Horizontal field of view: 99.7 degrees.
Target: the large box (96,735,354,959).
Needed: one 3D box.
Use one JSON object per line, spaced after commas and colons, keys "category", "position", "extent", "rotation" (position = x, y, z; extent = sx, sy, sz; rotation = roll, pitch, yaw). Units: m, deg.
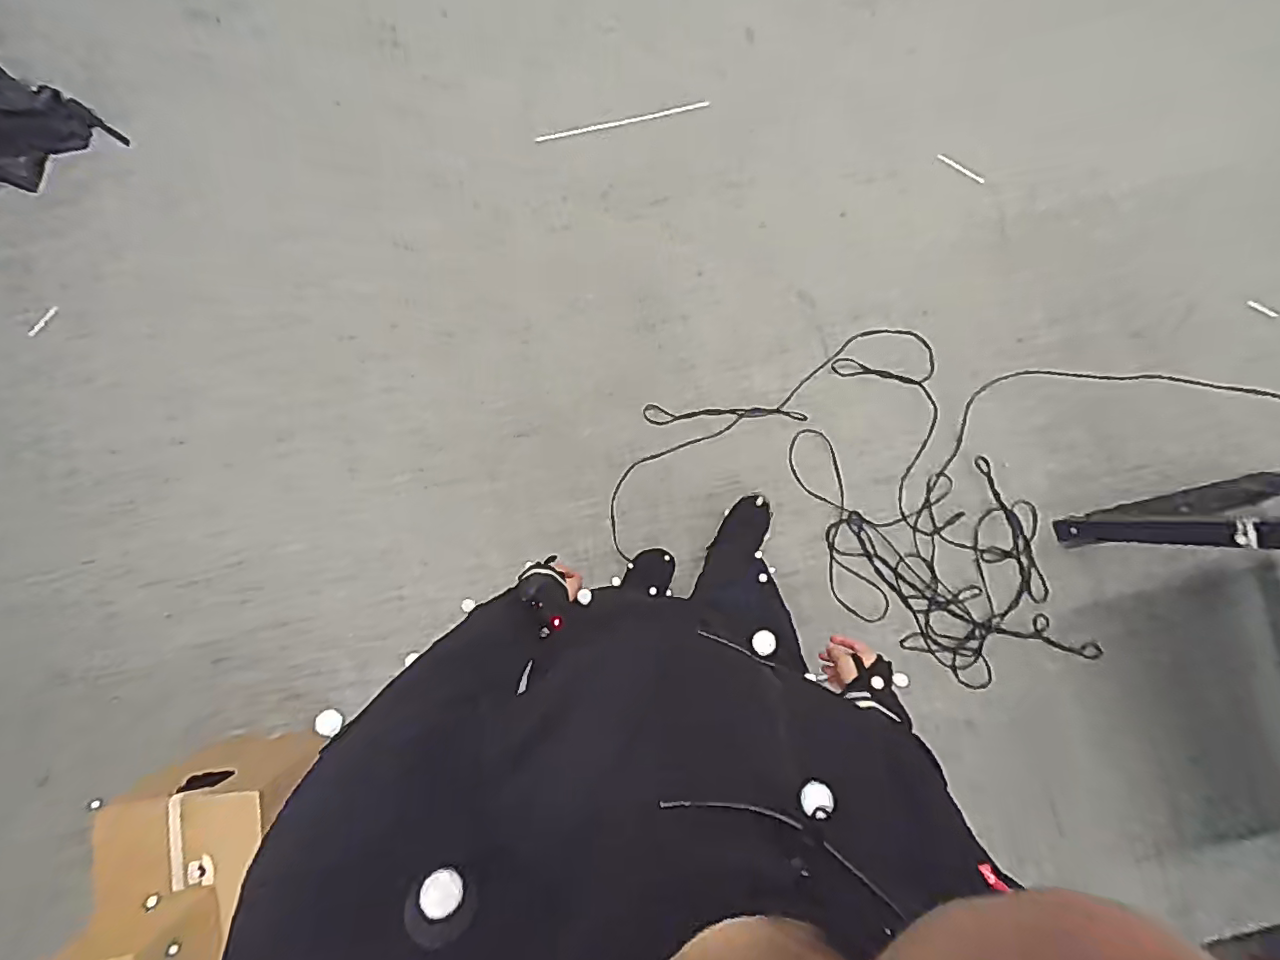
{"category": "large box", "position": [-0.843, 0.812, 1.141], "extent": [0.320, 0.320, 0.408], "rotation": [-6, 84, -2]}
